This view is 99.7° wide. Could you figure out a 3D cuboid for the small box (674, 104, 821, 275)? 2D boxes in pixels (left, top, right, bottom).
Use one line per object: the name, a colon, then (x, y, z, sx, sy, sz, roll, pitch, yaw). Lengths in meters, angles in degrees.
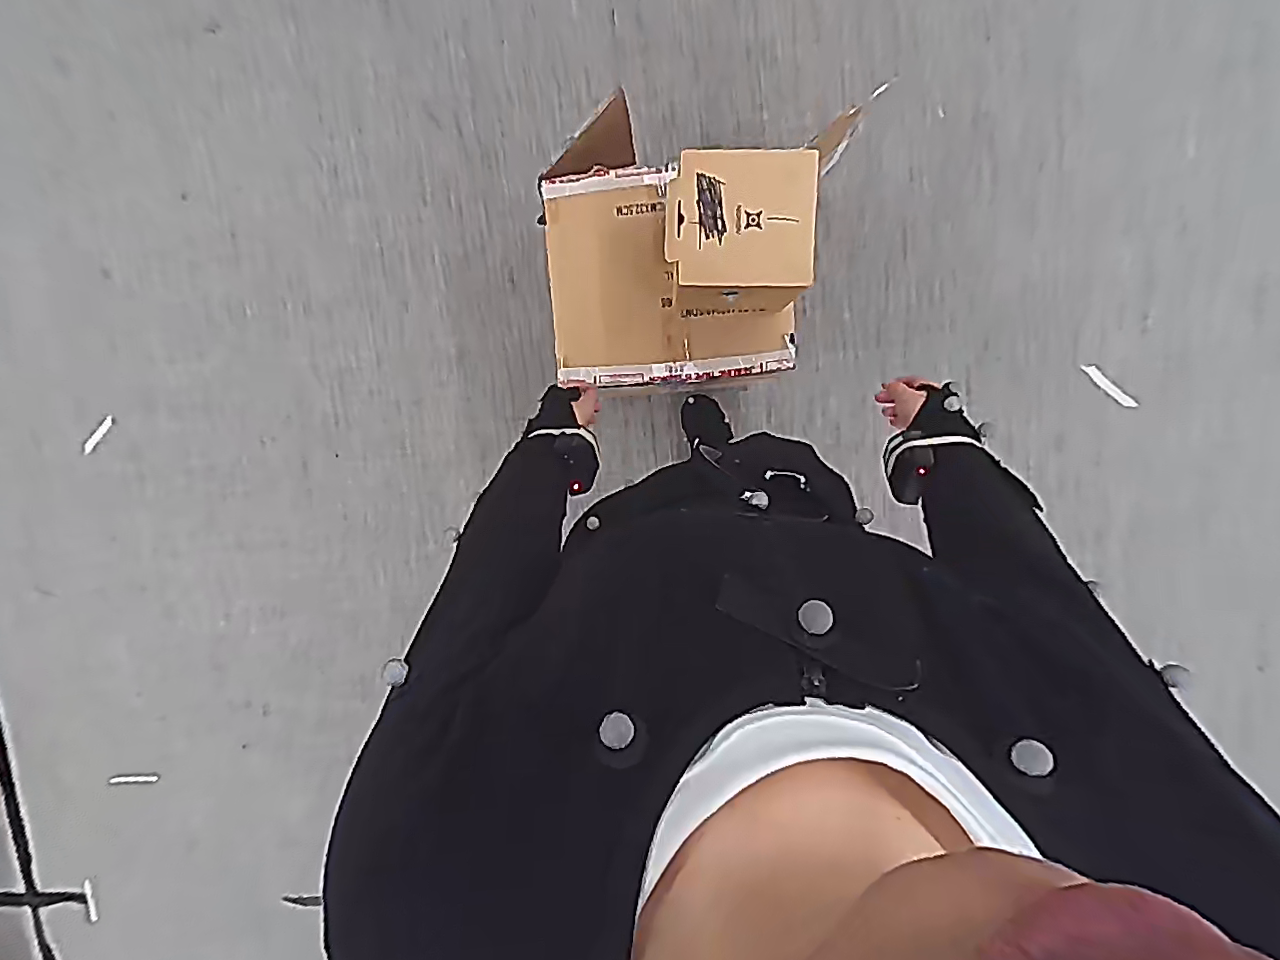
small box: (0.137, -0.387, 0.748, 0.179, 0.176, 0.168, -1, 99, 1)
